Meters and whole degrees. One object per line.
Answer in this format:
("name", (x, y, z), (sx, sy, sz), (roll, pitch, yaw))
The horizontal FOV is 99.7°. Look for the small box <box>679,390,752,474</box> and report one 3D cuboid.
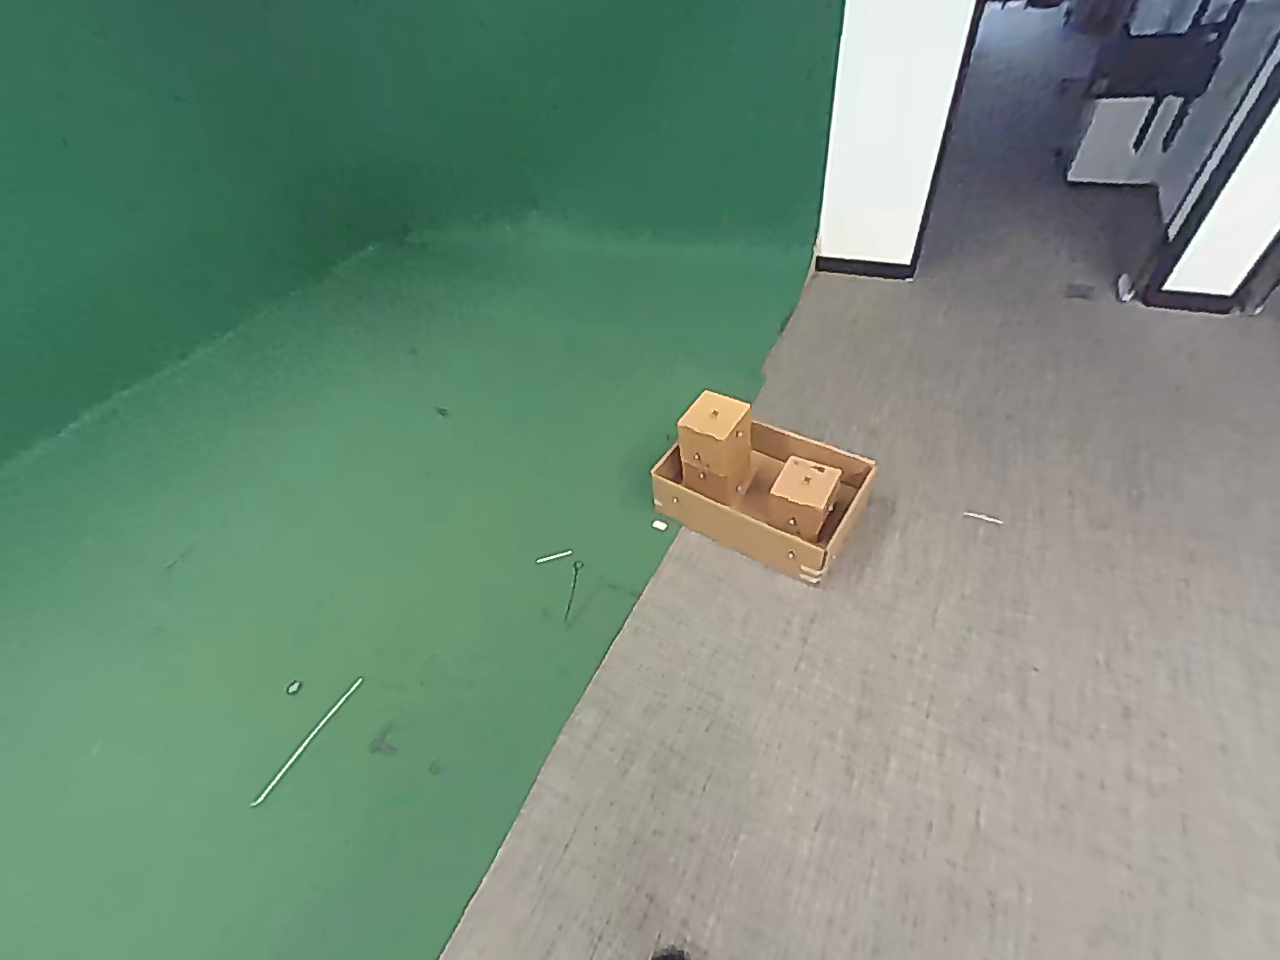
("small box", (0.240, -0.152, 1.720), (0.168, 0.176, 0.179), (24, 58, 27))
